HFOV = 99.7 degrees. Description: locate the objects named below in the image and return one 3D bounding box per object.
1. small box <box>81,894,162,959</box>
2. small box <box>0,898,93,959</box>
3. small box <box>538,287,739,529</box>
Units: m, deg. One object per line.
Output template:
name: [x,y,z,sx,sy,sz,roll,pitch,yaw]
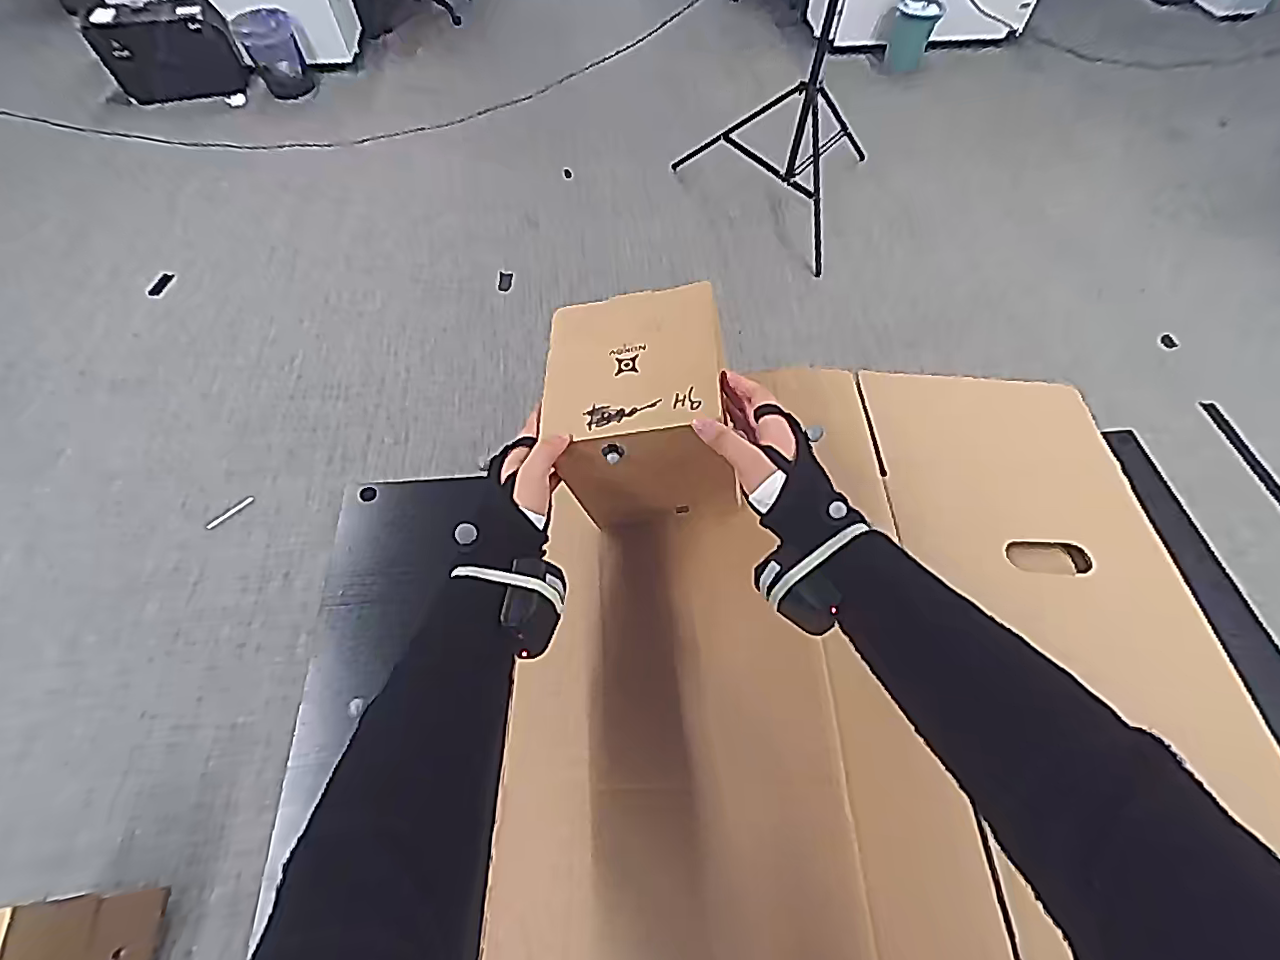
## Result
small box: [-1.047,0.893,1.002,0.168,0.176,0.179,-8,60,-5]
small box: [-1.048,0.805,0.866,0.168,0.176,0.179,-10,59,-8]
small box: [0.010,-0.067,0.570,0.168,0.176,0.179,-7,57,13]
